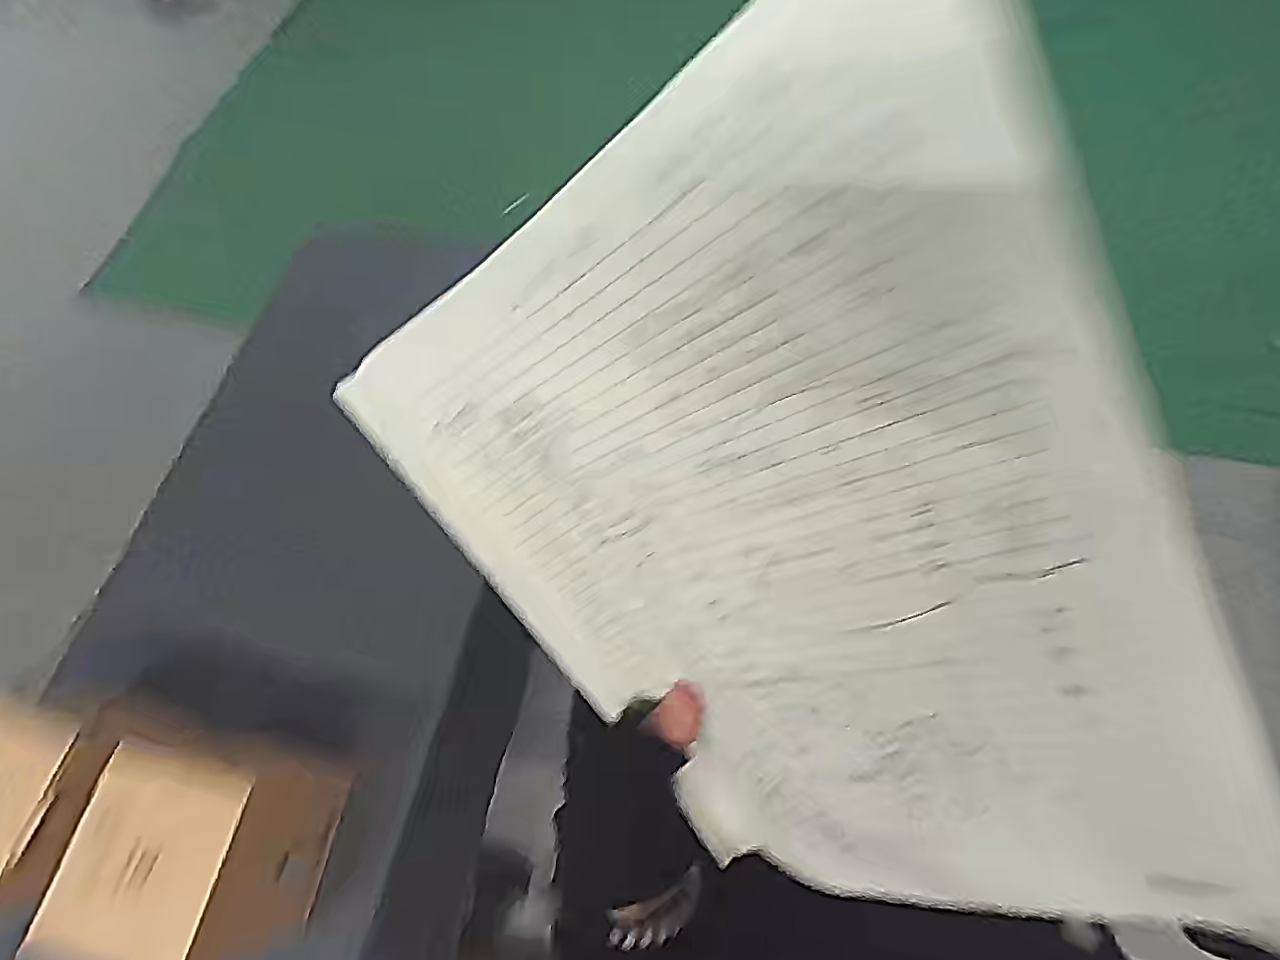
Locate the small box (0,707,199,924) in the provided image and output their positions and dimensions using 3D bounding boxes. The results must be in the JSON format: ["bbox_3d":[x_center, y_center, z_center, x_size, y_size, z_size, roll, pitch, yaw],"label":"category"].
[{"bbox_3d":[-0.688,0.372,0.637,0.179,0.176,0.168,11,70,12],"label":"small box"}]

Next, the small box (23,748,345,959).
[{"bbox_3d":[-0.466,0.400,0.587,0.179,0.176,0.168,6,69,12],"label":"small box"}]
